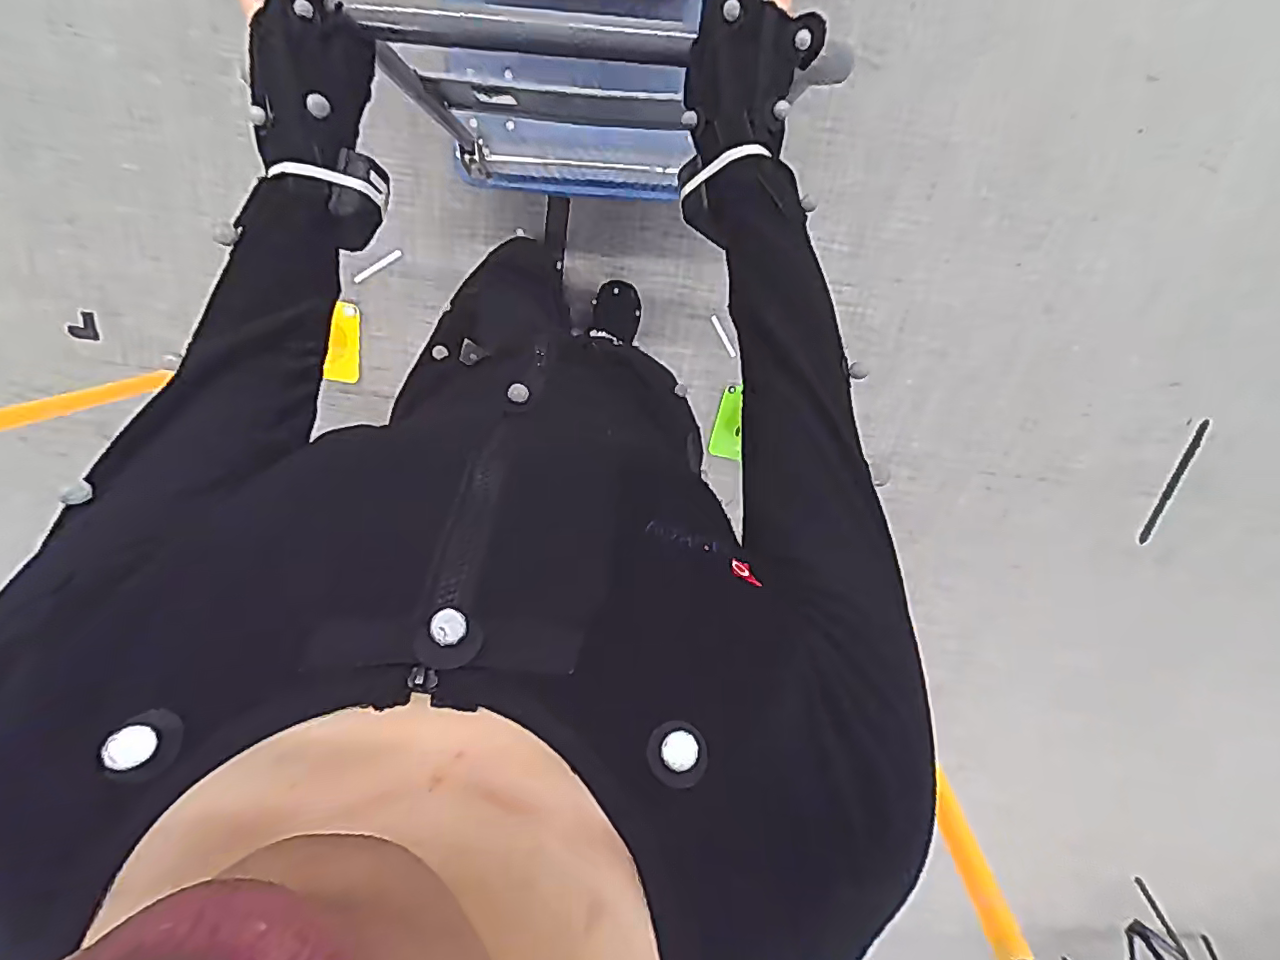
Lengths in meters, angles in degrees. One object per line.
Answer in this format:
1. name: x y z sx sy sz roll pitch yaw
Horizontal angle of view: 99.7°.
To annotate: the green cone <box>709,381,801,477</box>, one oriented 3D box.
1. green cone: 0.311 -0.091 1.315 0.202 0.368 0.200 11 112 -7
